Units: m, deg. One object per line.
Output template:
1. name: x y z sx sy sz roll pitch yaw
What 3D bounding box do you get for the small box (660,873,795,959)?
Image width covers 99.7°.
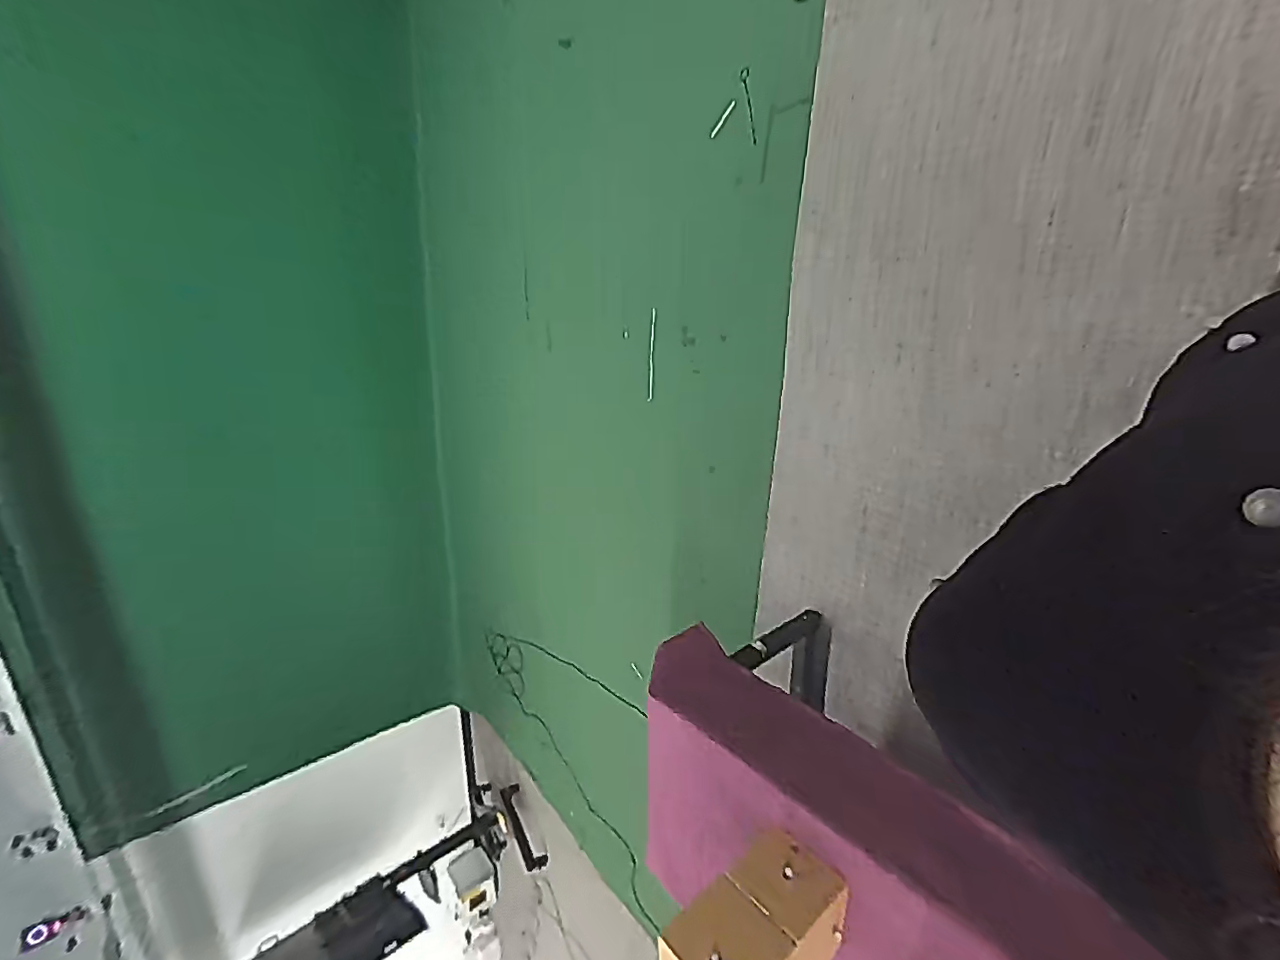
1. small box: 0.155 0.859 0.957 0.179 0.176 0.168 16 113 47

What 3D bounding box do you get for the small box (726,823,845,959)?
1. small box: 0.281 0.830 1.060 0.168 0.176 0.179 17 114 47
